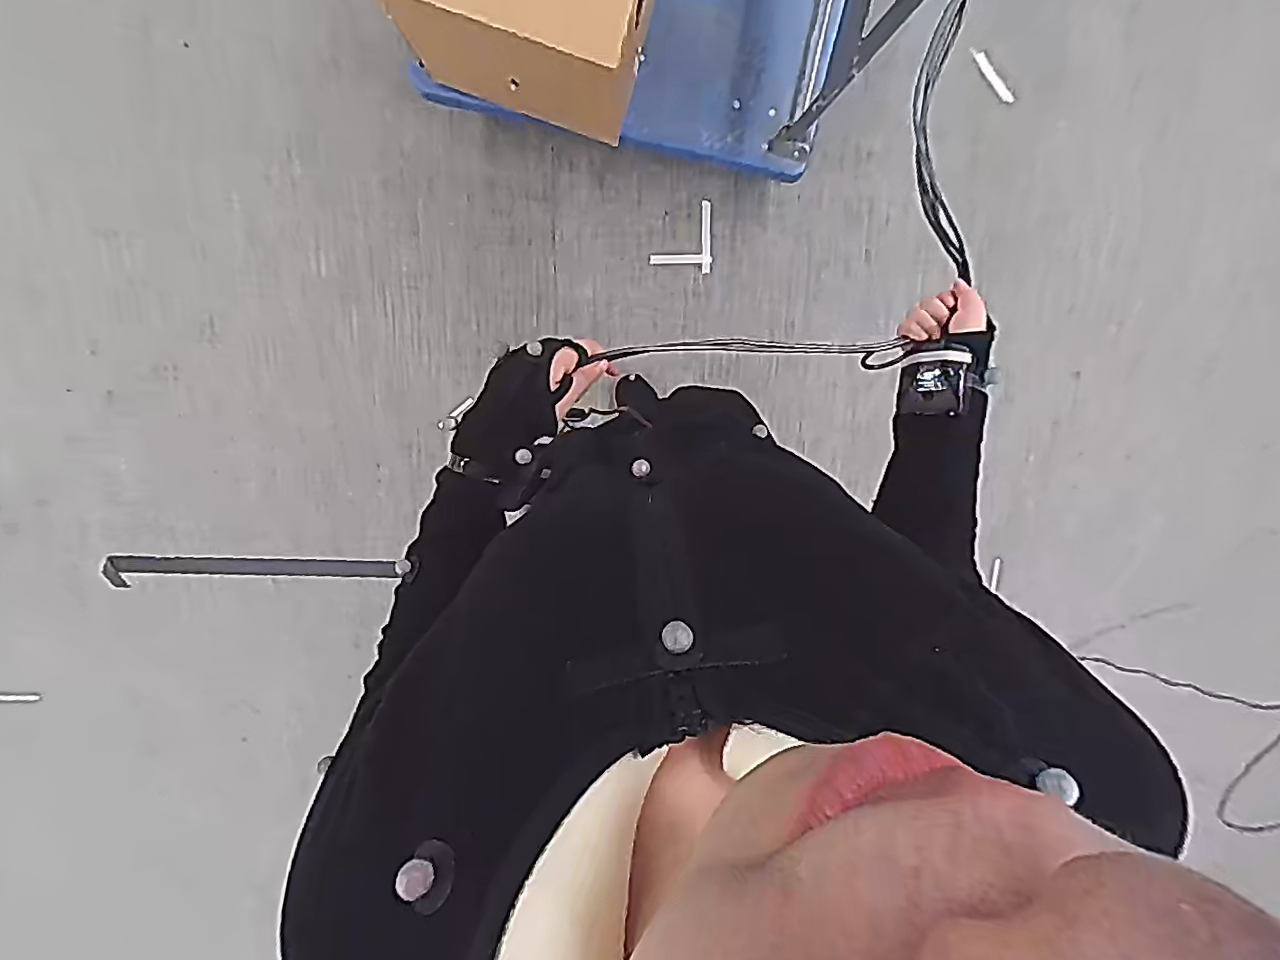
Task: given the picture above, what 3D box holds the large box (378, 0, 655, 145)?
[{"bbox_3d":[-0.189,-0.879,0.978,0.408,0.320,0.320,16,99,-5],"label":"large box"}]
